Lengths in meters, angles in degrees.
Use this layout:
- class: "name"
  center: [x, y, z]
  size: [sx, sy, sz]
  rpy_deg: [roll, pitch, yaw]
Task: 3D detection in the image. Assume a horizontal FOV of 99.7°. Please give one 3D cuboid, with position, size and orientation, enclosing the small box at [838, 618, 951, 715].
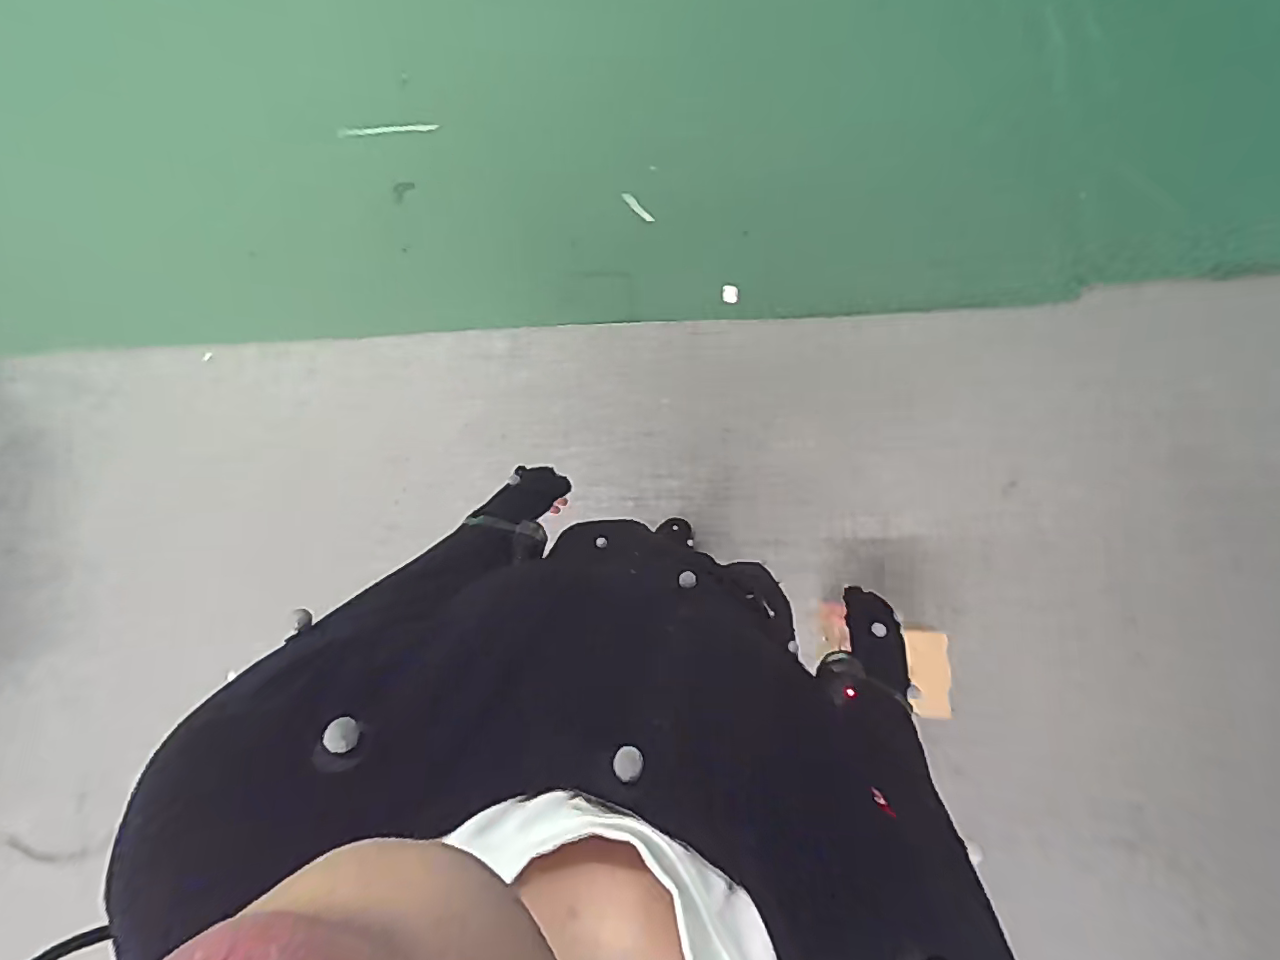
- class: "small box"
  center: [0.533, 0.389, 1.153]
  size: [0.179, 0.176, 0.168]
  rpy_deg: [0, 83, 6]

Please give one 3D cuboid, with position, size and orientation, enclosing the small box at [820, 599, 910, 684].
- class: "small box"
  center: [0.541, 0.391, 1.315]
  size: [0.168, 0.176, 0.179]
  rpy_deg: [1, 83, 6]
